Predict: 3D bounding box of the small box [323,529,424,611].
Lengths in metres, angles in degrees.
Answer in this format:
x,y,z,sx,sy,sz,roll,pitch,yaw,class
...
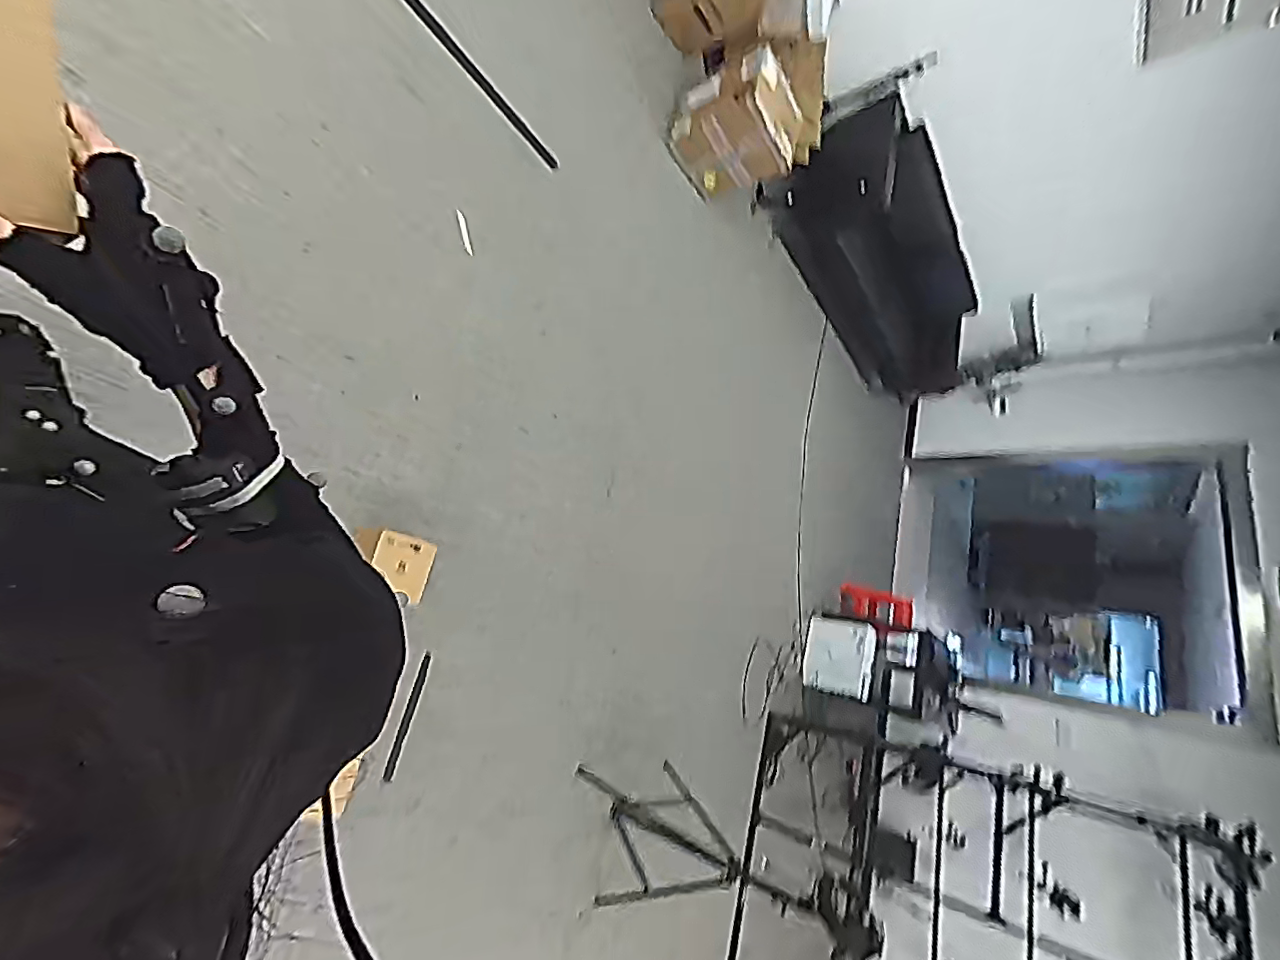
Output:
x,y,z,sx,sy,sz,roll,pitch,yaw,class
-0.729,0.243,1.473,0.168,0.176,0.179,34,64,-46,small box
